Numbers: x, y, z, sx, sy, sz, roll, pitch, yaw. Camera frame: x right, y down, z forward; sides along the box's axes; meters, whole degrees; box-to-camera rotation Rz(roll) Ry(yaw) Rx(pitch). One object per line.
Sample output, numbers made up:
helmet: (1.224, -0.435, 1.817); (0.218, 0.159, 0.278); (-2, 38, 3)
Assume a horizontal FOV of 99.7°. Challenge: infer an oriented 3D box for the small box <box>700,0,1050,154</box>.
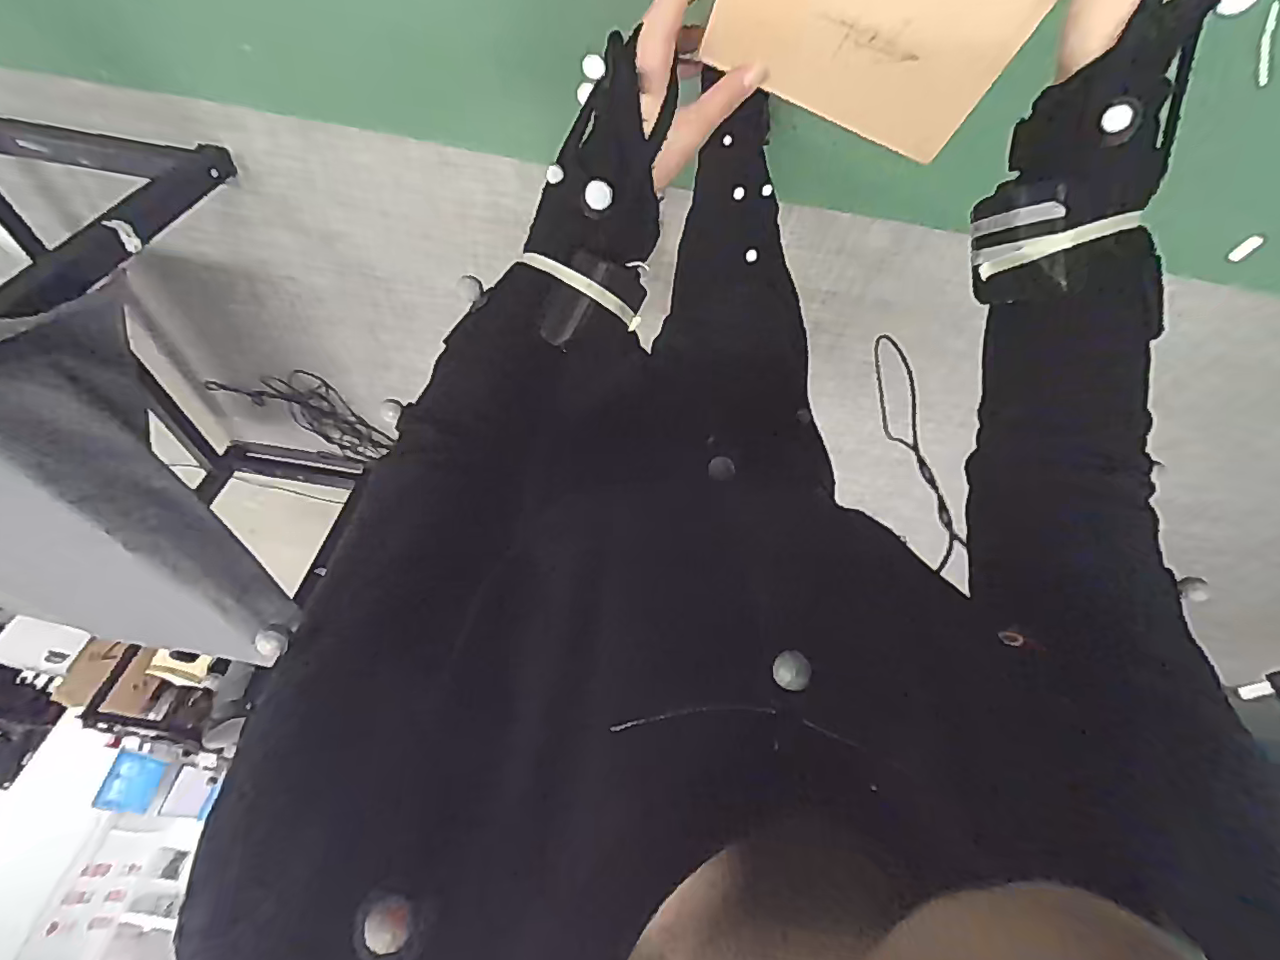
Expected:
small box: (0.149, -0.339, 0.302); (0.168, 0.176, 0.179); (19, 149, -9)
